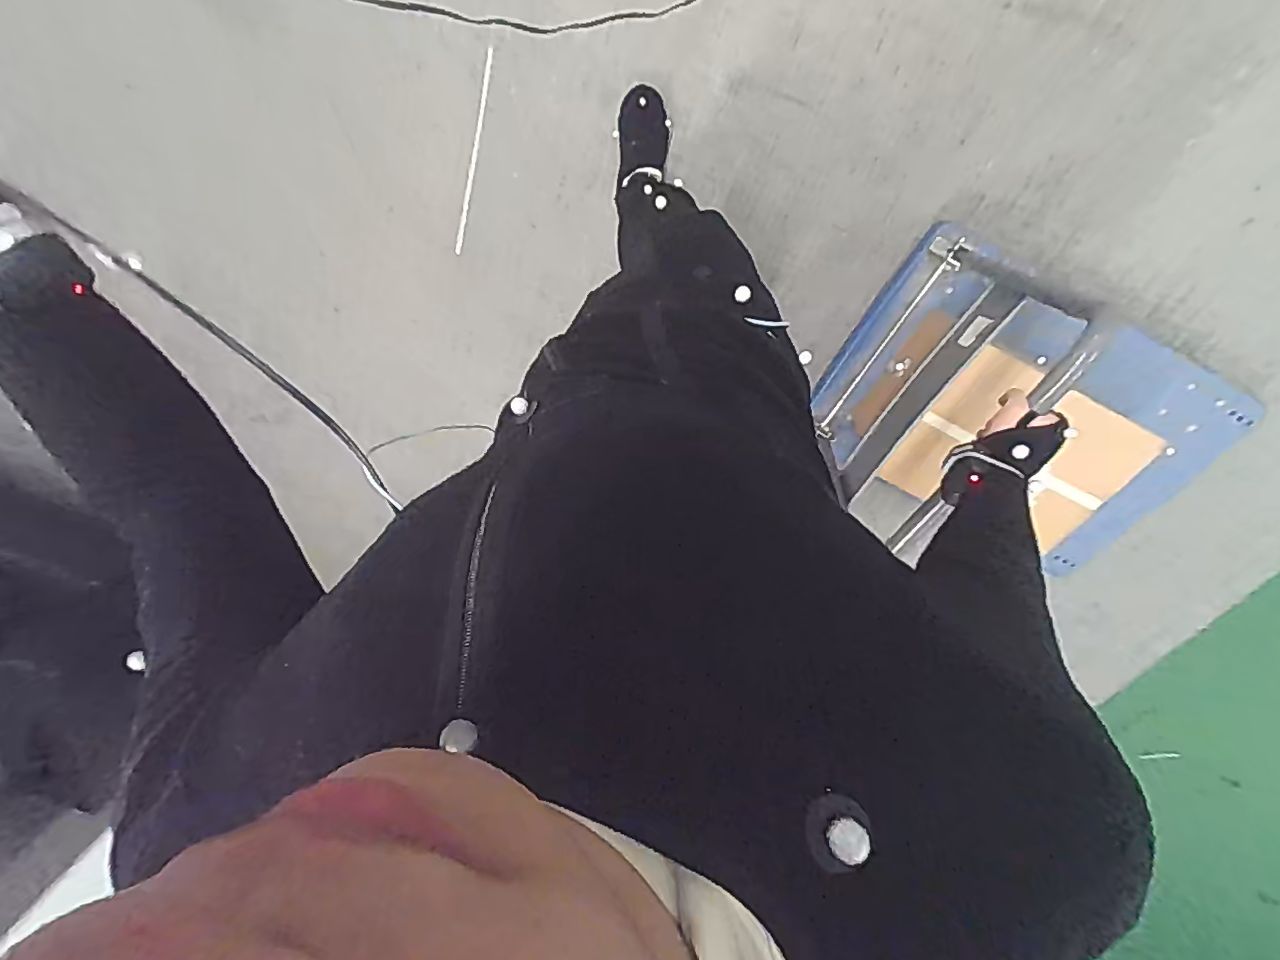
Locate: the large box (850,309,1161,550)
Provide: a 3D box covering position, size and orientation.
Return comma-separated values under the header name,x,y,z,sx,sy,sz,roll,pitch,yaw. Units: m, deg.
name,x,y,z,sx,sy,sz,roll,pitch,yaw
large box,0.740,-0.121,1.179,0.408,0.320,0.320,26,121,-5
